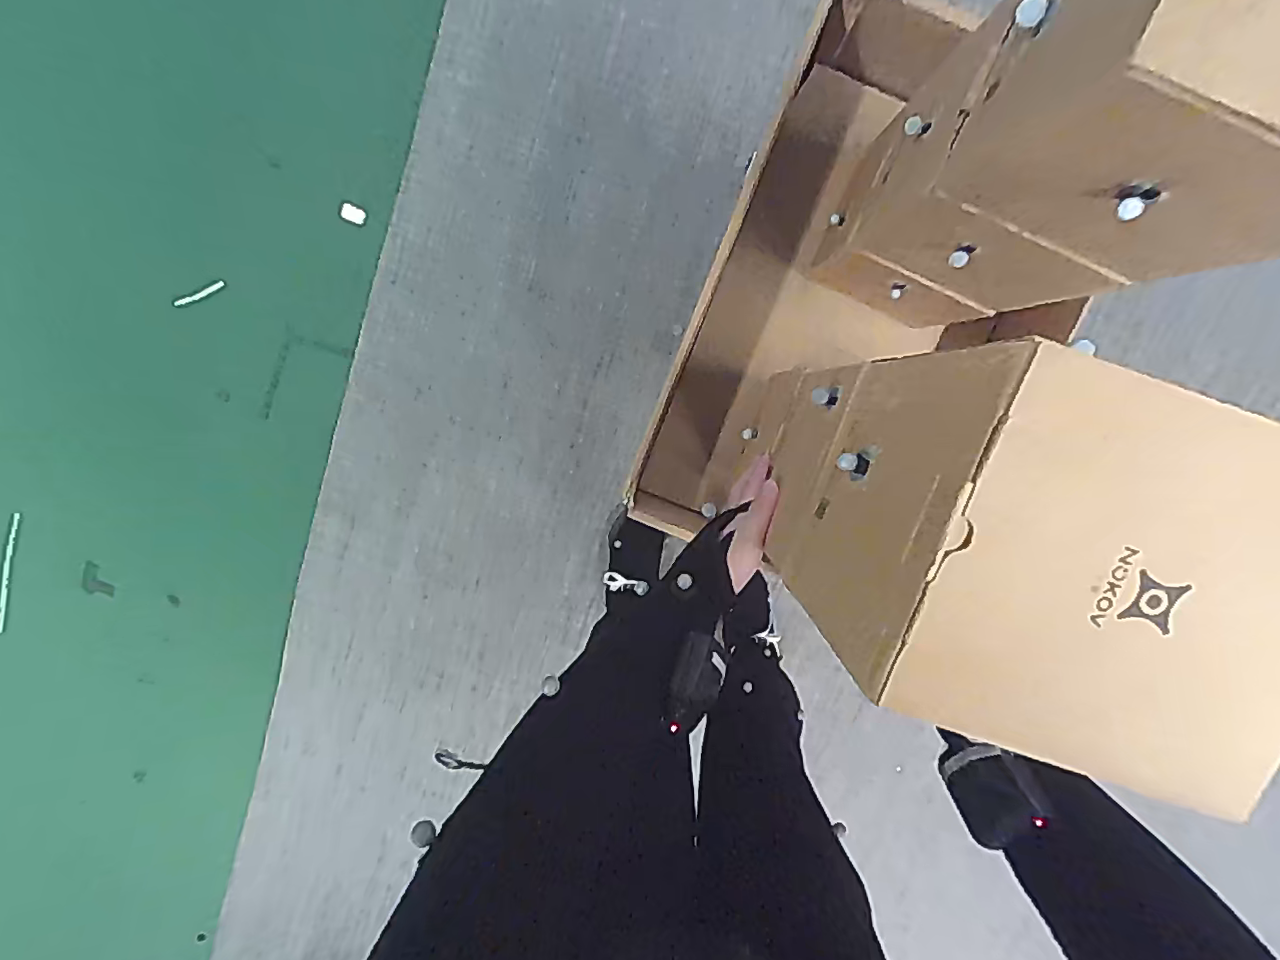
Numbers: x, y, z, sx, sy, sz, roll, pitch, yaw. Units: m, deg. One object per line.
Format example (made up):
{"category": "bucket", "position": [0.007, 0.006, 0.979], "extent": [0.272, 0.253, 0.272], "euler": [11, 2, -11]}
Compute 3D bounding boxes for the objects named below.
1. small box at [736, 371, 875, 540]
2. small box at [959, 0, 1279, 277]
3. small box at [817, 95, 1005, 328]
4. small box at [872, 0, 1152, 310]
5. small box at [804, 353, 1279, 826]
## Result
{"category": "small box", "position": [0.228, -0.016, 0.623], "extent": [0.179, 0.176, 0.168], "euler": [20, 98, -1]}
{"category": "small box", "position": [0.337, -0.233, 0.309], "extent": [0.179, 0.176, 0.168], "euler": [23, 100, -3]}
{"category": "small box", "position": [0.338, -0.290, 0.633], "extent": [0.179, 0.176, 0.168], "euler": [25, 100, -5]}
{"category": "small box", "position": [0.338, -0.263, 0.471], "extent": [0.179, 0.176, 0.168], "euler": [24, 101, -3]}
{"category": "small box", "position": [0.220, 0.038, 0.302], "extent": [0.179, 0.176, 0.168], "euler": [19, 99, -2]}
